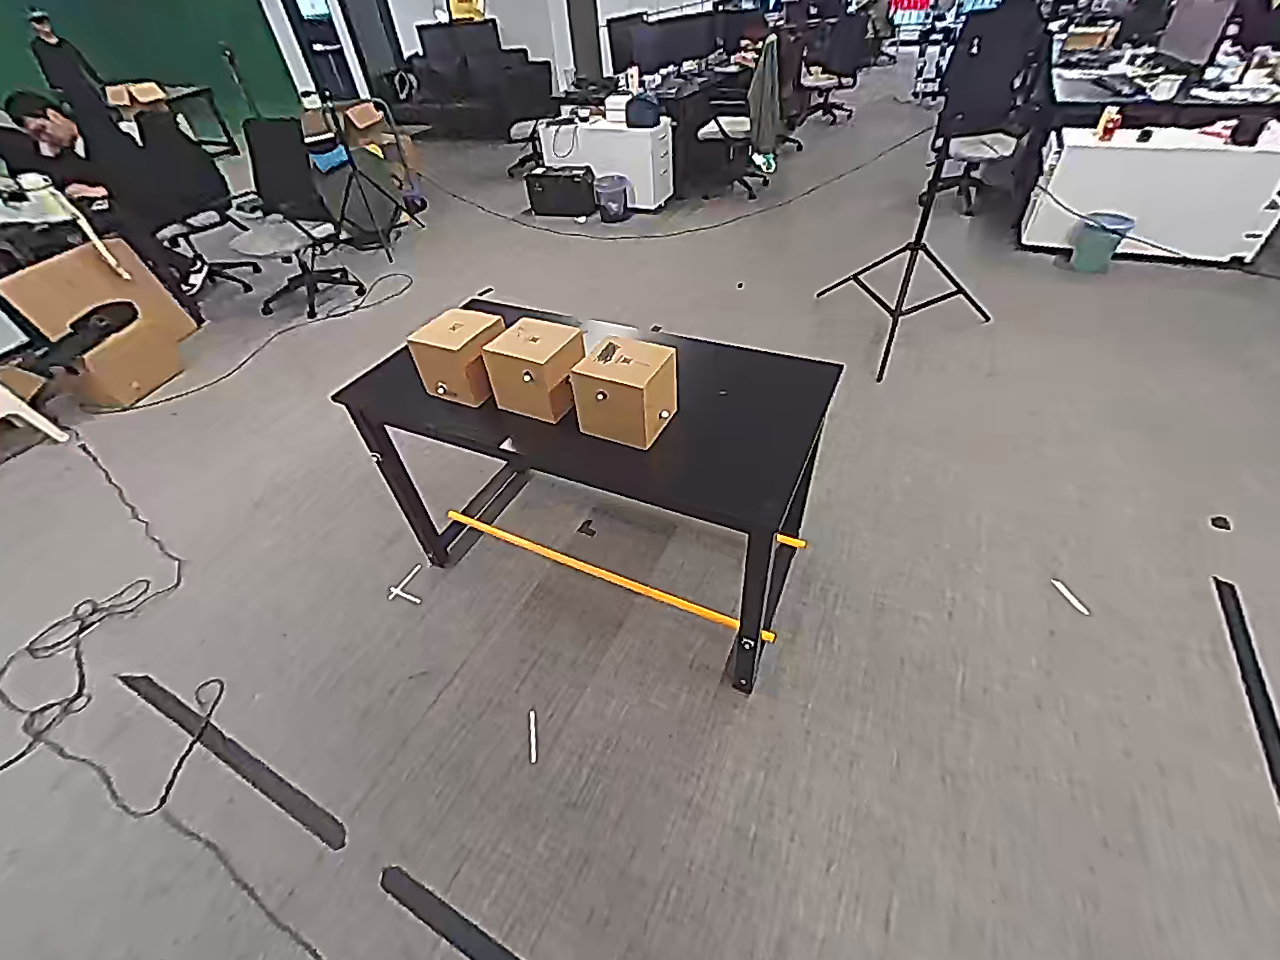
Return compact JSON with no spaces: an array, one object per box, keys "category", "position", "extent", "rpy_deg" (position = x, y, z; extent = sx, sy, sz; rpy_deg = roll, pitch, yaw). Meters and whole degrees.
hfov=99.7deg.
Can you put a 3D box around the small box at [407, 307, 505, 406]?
[{"category":"small box","position":[-0.447,-0.315,1.372],"extent":[0.168,0.176,0.179],"rpy_deg":[15,48,22]}]

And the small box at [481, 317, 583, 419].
[{"category":"small box","position":[-0.244,-0.267,1.300],"extent":[0.179,0.176,0.168],"rpy_deg":[17,47,22]}]

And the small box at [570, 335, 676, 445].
[{"category":"small box","position":[-0.031,-0.200,1.209],"extent":[0.179,0.176,0.168],"rpy_deg":[17,48,21]}]
